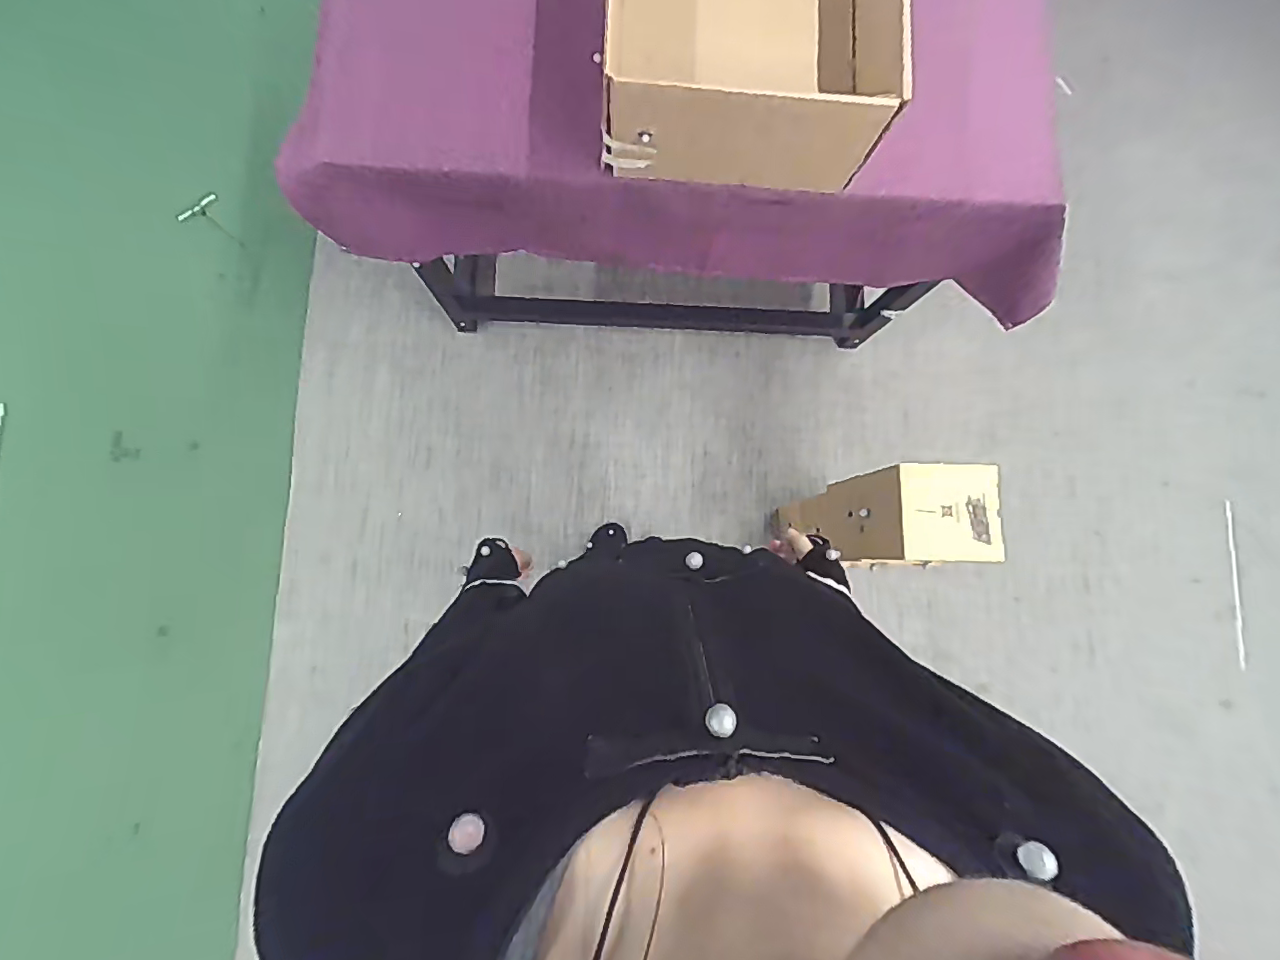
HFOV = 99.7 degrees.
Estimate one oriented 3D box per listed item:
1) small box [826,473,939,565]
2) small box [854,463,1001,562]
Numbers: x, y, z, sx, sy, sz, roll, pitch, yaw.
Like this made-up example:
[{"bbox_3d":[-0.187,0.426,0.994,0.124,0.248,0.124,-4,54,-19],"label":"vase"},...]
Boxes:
[{"bbox_3d":[0.505,0.089,1.148,0.168,0.176,0.179,3,82,-3],"label":"small box"},{"bbox_3d":[0.513,0.064,0.986,0.179,0.176,0.168,1,82,-2],"label":"small box"}]
